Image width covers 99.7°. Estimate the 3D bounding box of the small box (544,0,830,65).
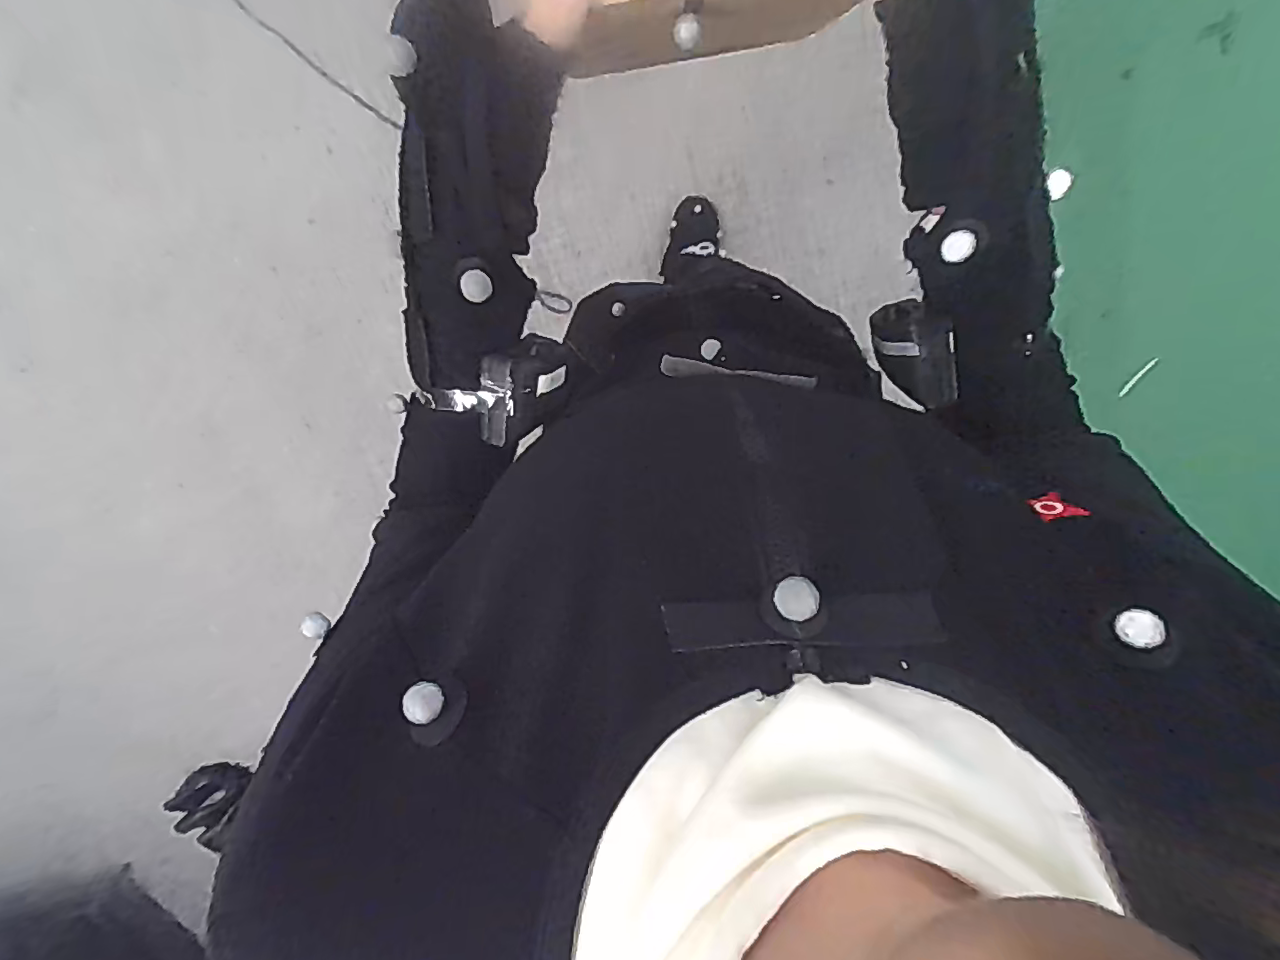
[{"bbox_3d":[0.020,-0.320,0.241,0.168,0.176,0.179,-8,119,3],"label":"small box"}]
